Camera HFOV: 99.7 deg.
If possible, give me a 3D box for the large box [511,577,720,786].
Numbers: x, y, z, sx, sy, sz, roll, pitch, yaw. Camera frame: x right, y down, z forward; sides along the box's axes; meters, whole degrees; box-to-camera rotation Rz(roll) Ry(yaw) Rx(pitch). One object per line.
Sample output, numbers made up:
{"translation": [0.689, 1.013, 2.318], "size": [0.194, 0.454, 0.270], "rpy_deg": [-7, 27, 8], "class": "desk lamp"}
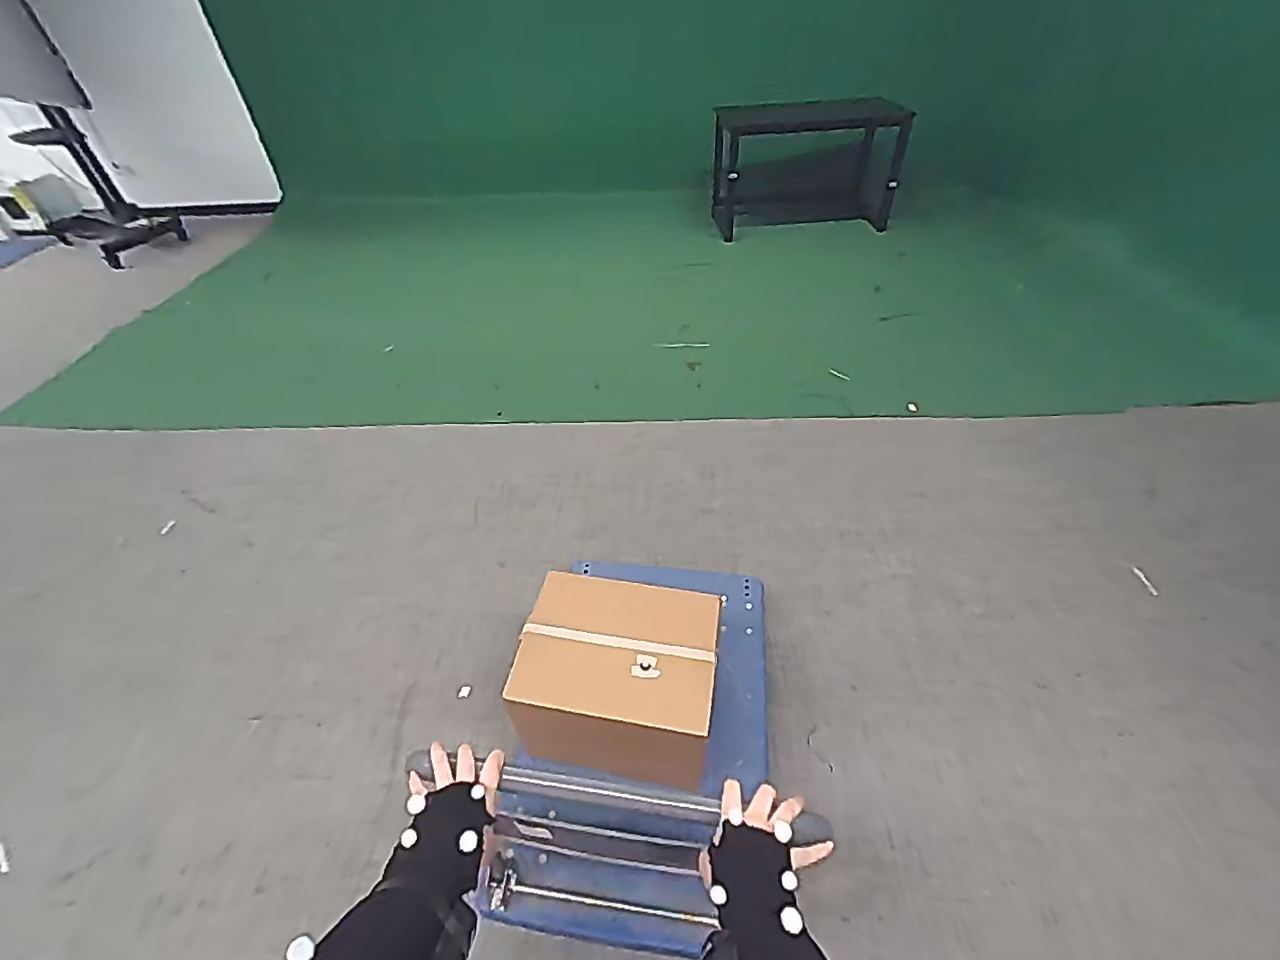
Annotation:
{"translation": [-0.040, 0.462, 1.251], "size": [0.408, 0.320, 0.320], "rpy_deg": [7, 44, 8], "class": "large box"}
